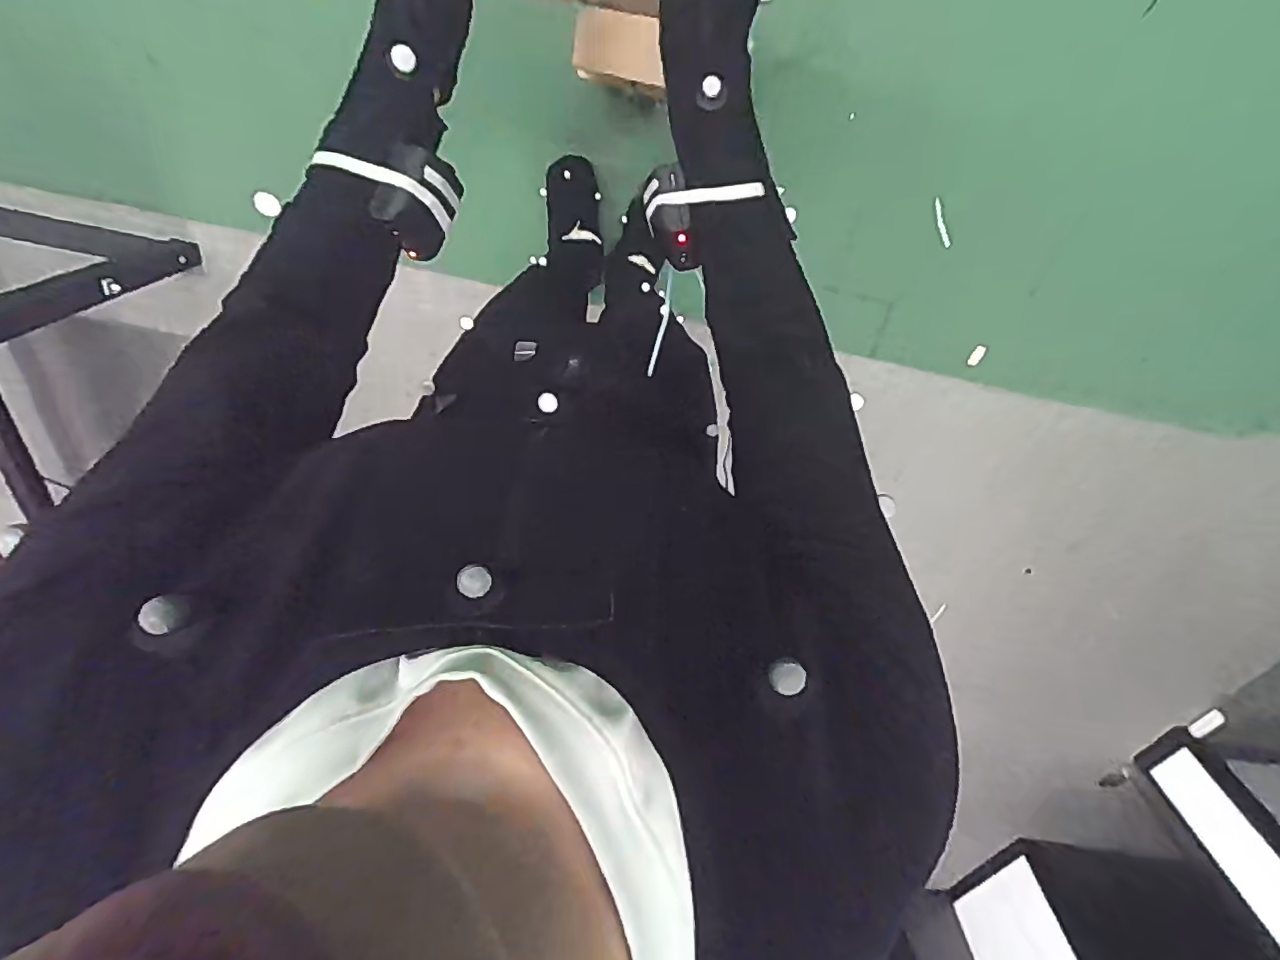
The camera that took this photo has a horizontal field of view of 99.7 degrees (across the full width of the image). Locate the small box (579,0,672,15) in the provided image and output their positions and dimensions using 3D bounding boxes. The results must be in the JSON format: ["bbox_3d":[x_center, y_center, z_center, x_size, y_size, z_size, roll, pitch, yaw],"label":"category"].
[{"bbox_3d":[-0.039,-0.491,0.400,0.168,0.176,0.179,7,118,-4],"label":"small box"}]

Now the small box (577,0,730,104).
[{"bbox_3d":[0.019,-0.623,0.723,0.179,0.176,0.168,9,124,-6],"label":"small box"}]

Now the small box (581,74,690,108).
[{"bbox_3d":[0.011,-0.711,0.862,0.179,0.176,0.168,10,125,-7],"label":"small box"}]
